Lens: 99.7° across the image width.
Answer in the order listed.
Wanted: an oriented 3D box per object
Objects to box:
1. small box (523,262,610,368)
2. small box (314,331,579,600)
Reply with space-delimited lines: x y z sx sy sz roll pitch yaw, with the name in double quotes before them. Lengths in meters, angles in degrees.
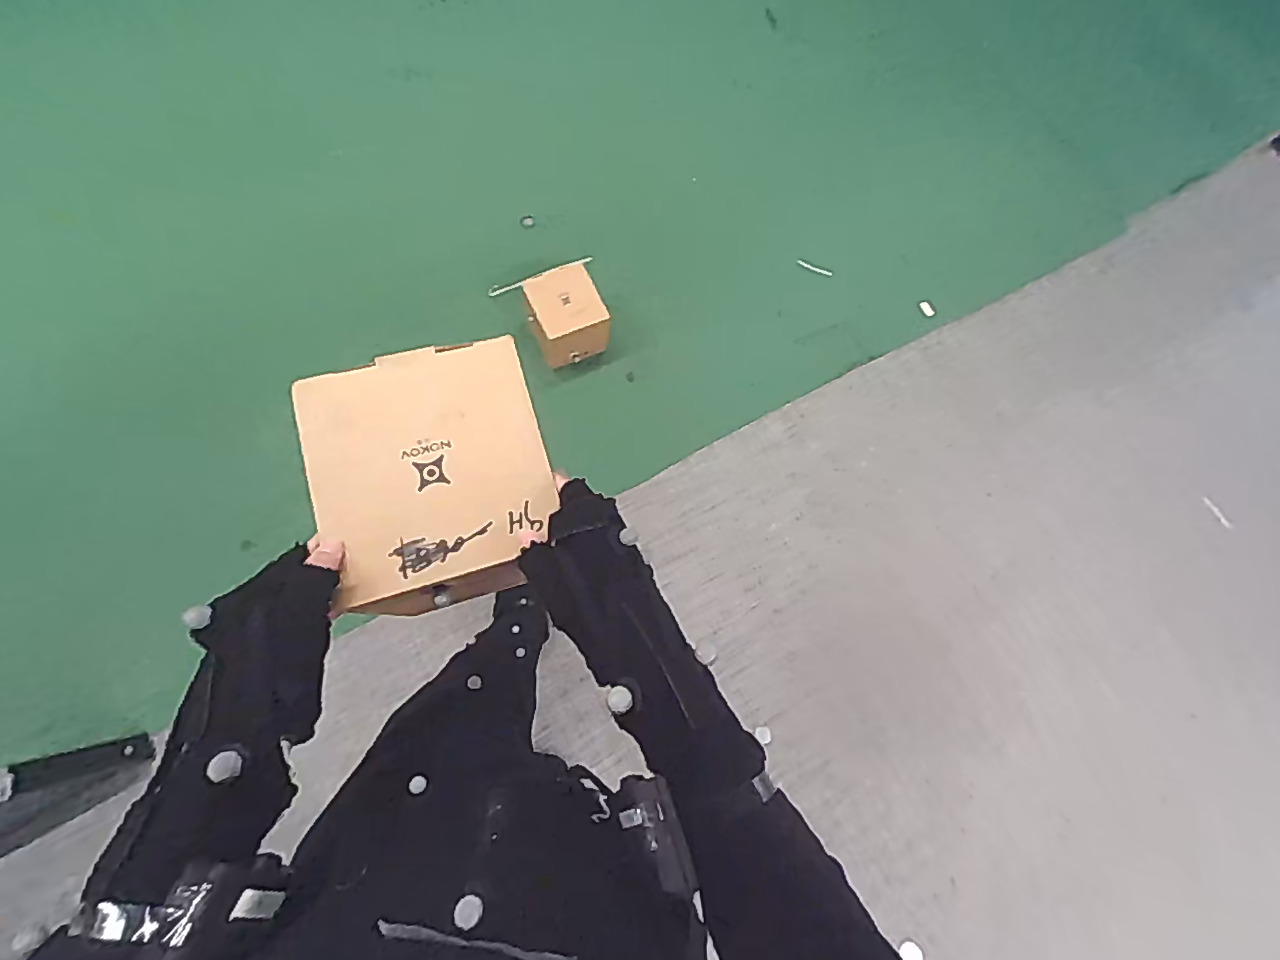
"small box" -0.194 -0.425 1.411 0.168 0.176 0.179 -25 80 -13
"small box" -0.157 -0.002 0.482 0.168 0.176 0.179 -15 78 -10
